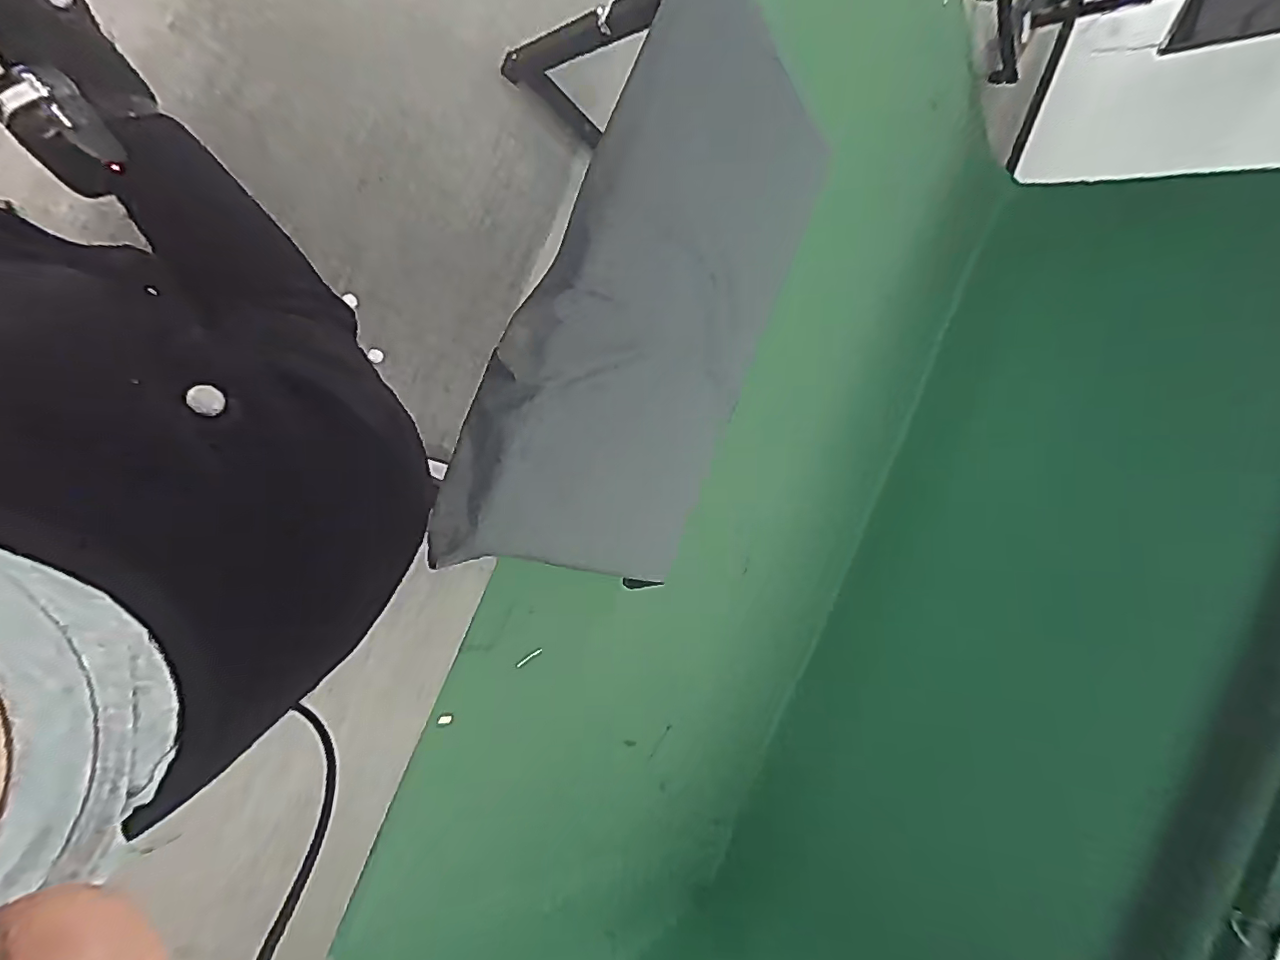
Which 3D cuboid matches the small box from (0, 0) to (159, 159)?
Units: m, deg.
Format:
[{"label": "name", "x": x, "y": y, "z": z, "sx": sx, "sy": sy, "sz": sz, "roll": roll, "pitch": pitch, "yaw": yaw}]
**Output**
[{"label": "small box", "x": -0.415, "y": -0.337, "z": 0.298, "sx": 0.176, "sy": 0.168, "sz": 0.179, "roll": -48, "pitch": 168, "yaw": 14}]
